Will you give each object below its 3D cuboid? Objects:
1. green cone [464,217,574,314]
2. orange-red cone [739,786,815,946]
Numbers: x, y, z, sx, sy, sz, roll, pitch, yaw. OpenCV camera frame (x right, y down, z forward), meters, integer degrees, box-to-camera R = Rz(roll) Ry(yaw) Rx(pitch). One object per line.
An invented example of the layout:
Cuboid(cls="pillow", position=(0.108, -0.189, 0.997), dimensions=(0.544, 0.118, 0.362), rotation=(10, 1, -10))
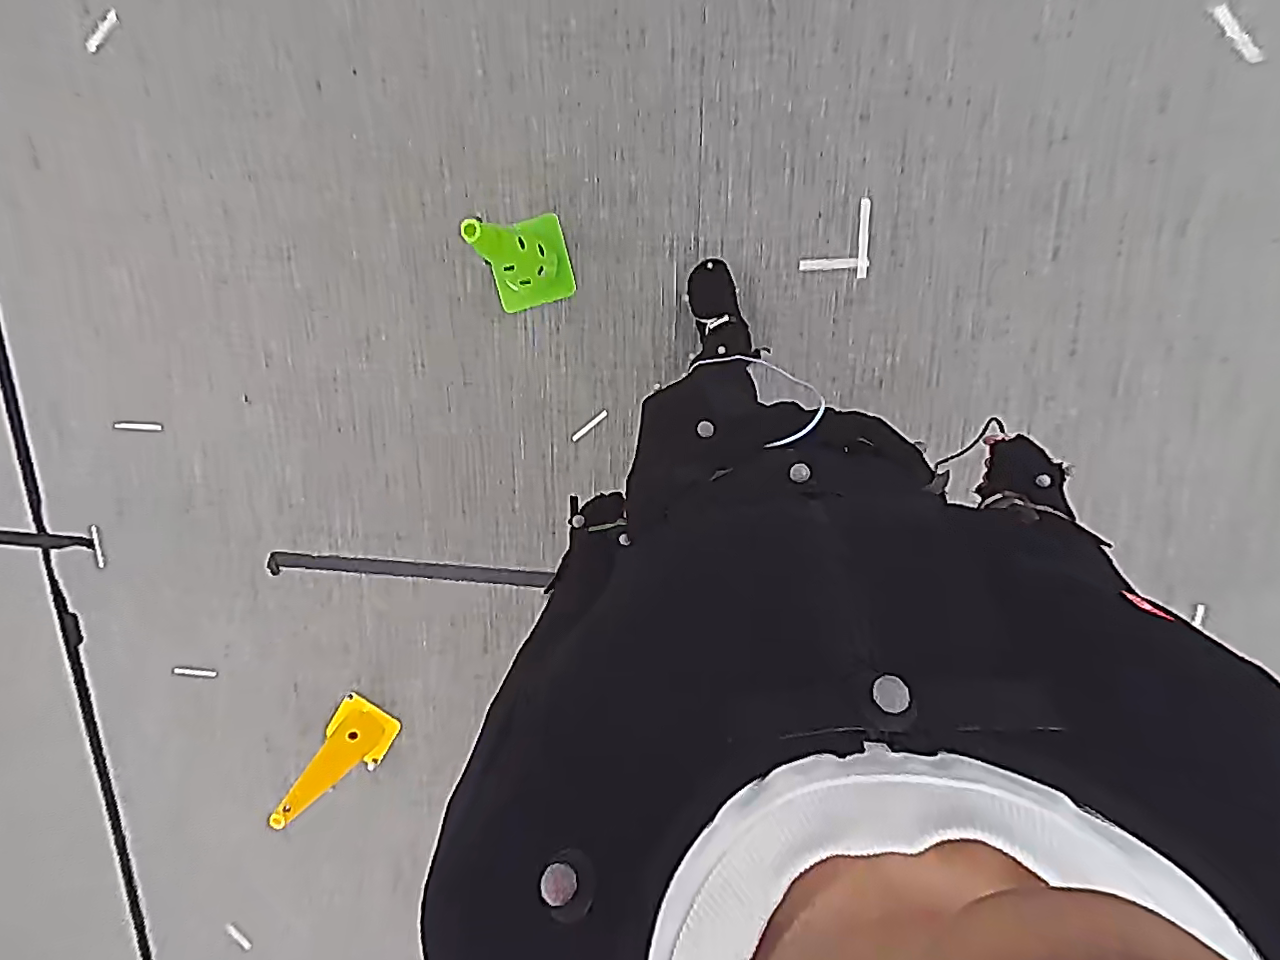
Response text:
Cuboid(cls="green cone", position=(-0.297, -0.500, 1.188), dimensions=(0.202, 0.368, 0.200), rotation=(-13, 100, 9))
Cuboid(cls="orange-red cone", position=(0.377, 1.031, 1.421), dimensions=(0.199, 0.360, 0.198), rotation=(10, 102, 6))
